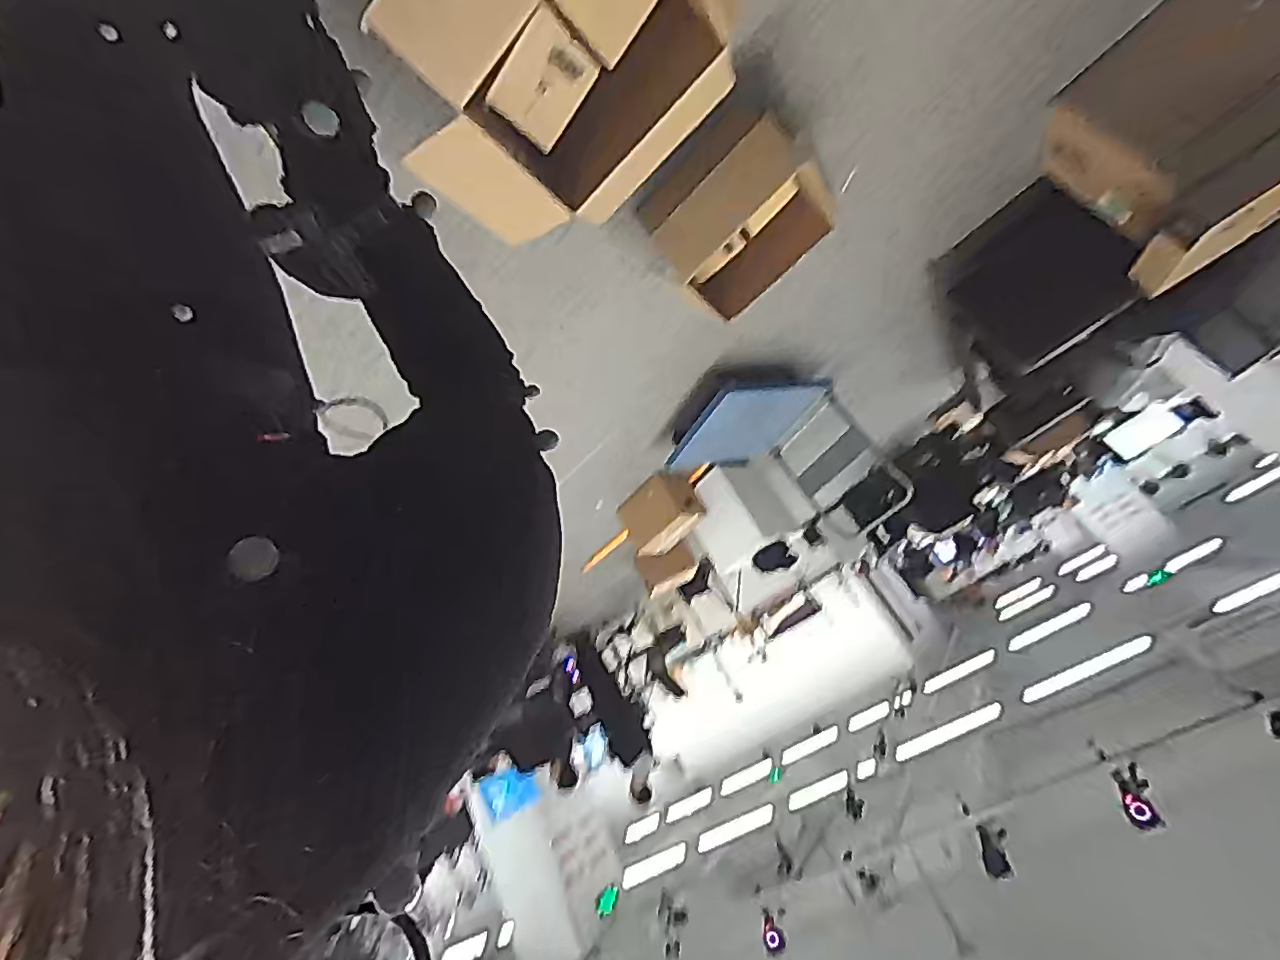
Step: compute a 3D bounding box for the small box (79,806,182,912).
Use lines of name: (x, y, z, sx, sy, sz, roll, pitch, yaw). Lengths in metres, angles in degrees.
small box: (-1.431, 1.048, 1.514, 0.179, 0.176, 0.168, -40, 154, 19)
